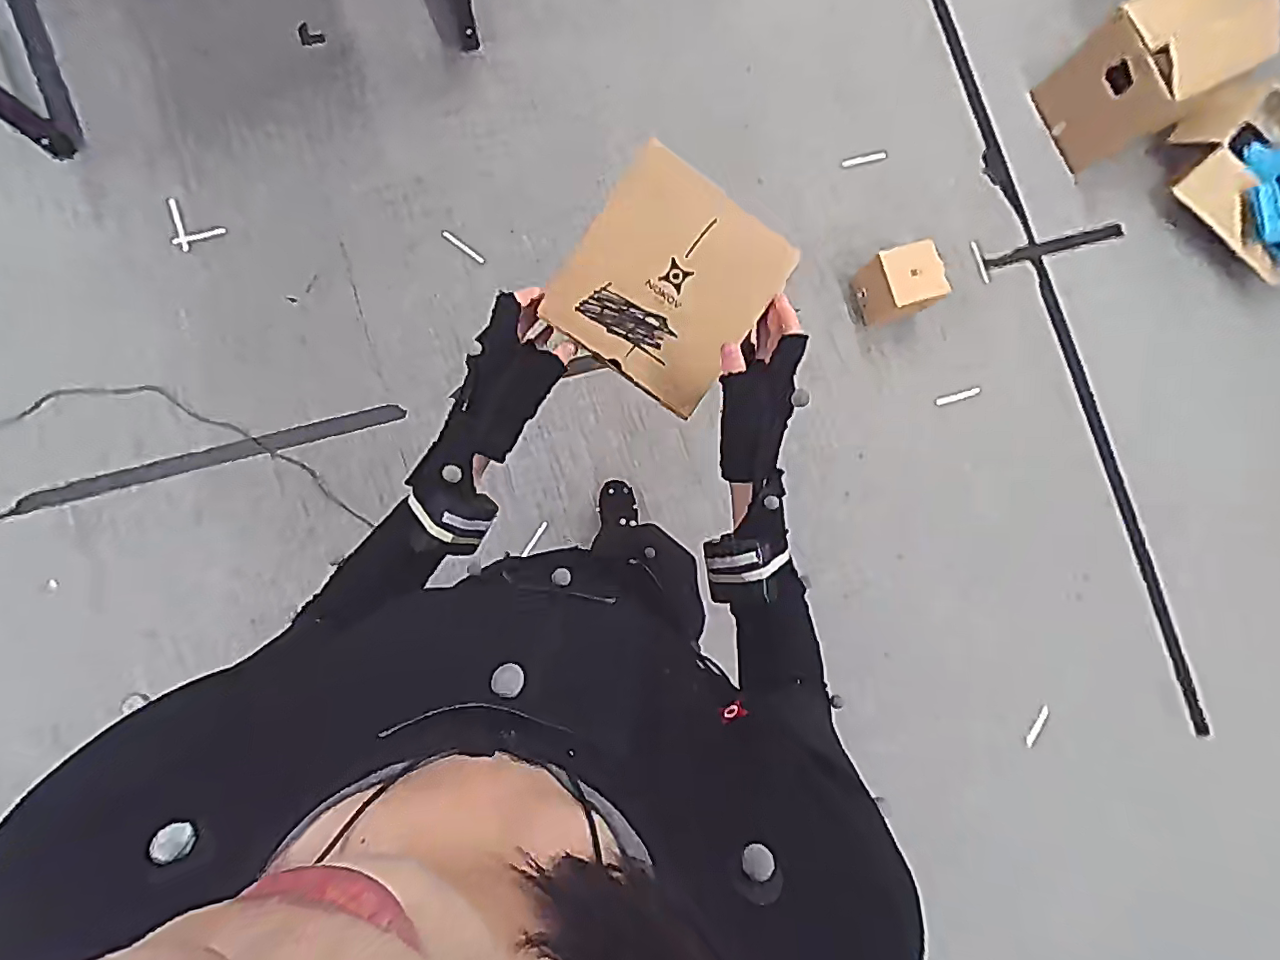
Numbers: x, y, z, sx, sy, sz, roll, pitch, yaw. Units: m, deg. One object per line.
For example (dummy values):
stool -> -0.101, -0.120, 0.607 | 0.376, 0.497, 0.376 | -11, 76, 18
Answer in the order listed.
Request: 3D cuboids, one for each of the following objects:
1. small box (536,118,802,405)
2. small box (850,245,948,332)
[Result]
small box -> 0.023, -0.195, 0.537 | 0.168, 0.176, 0.179 | 34, 98, -9
small box -> 0.759, -0.559, 1.598 | 0.179, 0.176, 0.168 | -16, 86, -7
